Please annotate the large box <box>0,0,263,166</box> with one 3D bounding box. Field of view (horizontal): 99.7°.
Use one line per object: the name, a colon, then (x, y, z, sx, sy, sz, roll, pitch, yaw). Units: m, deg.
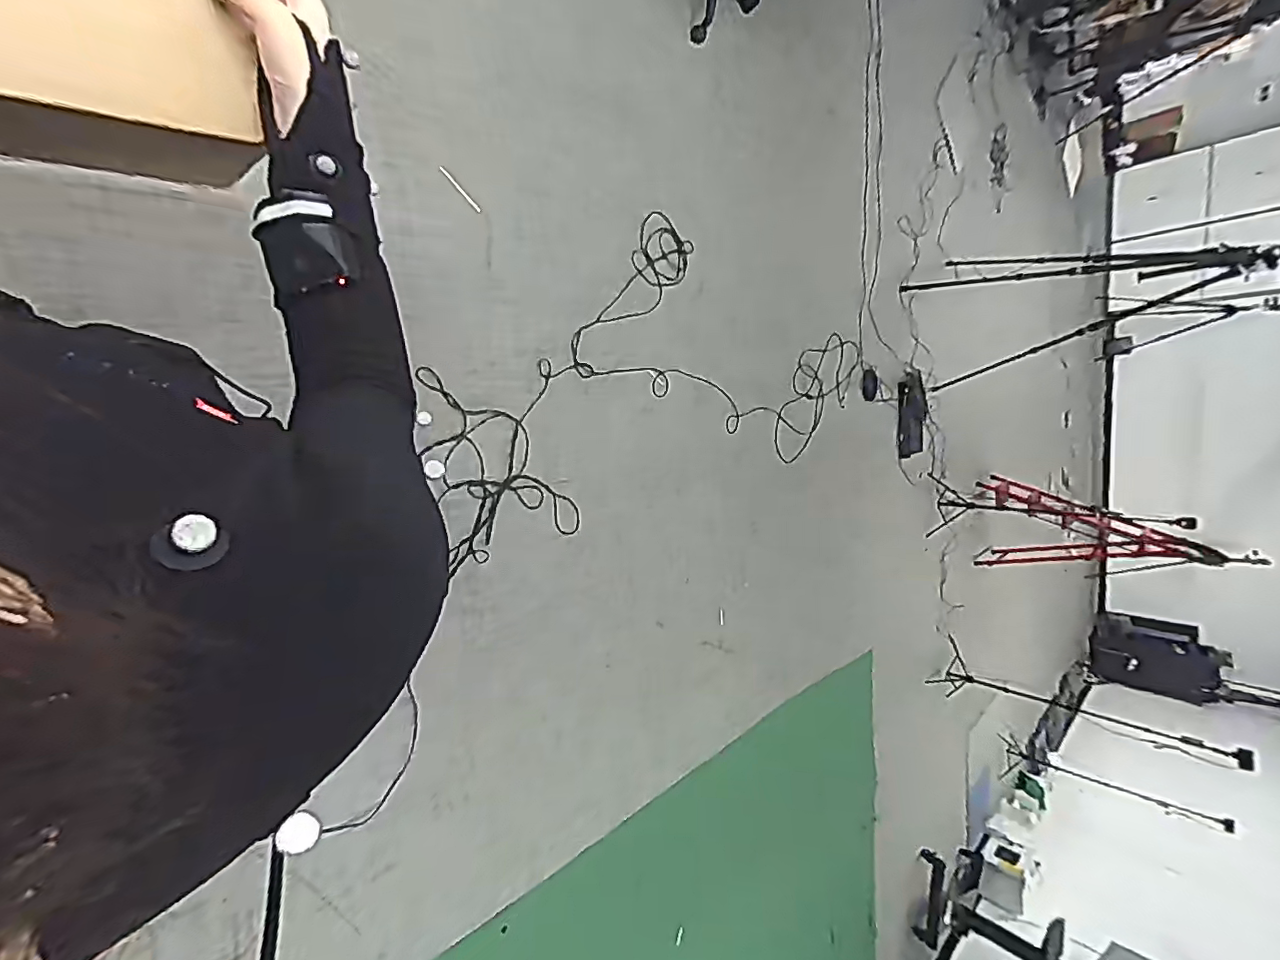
large box: (-0.528, -0.422, 0.353, 0.408, 0.320, 0.320, -12, 114, -38)
